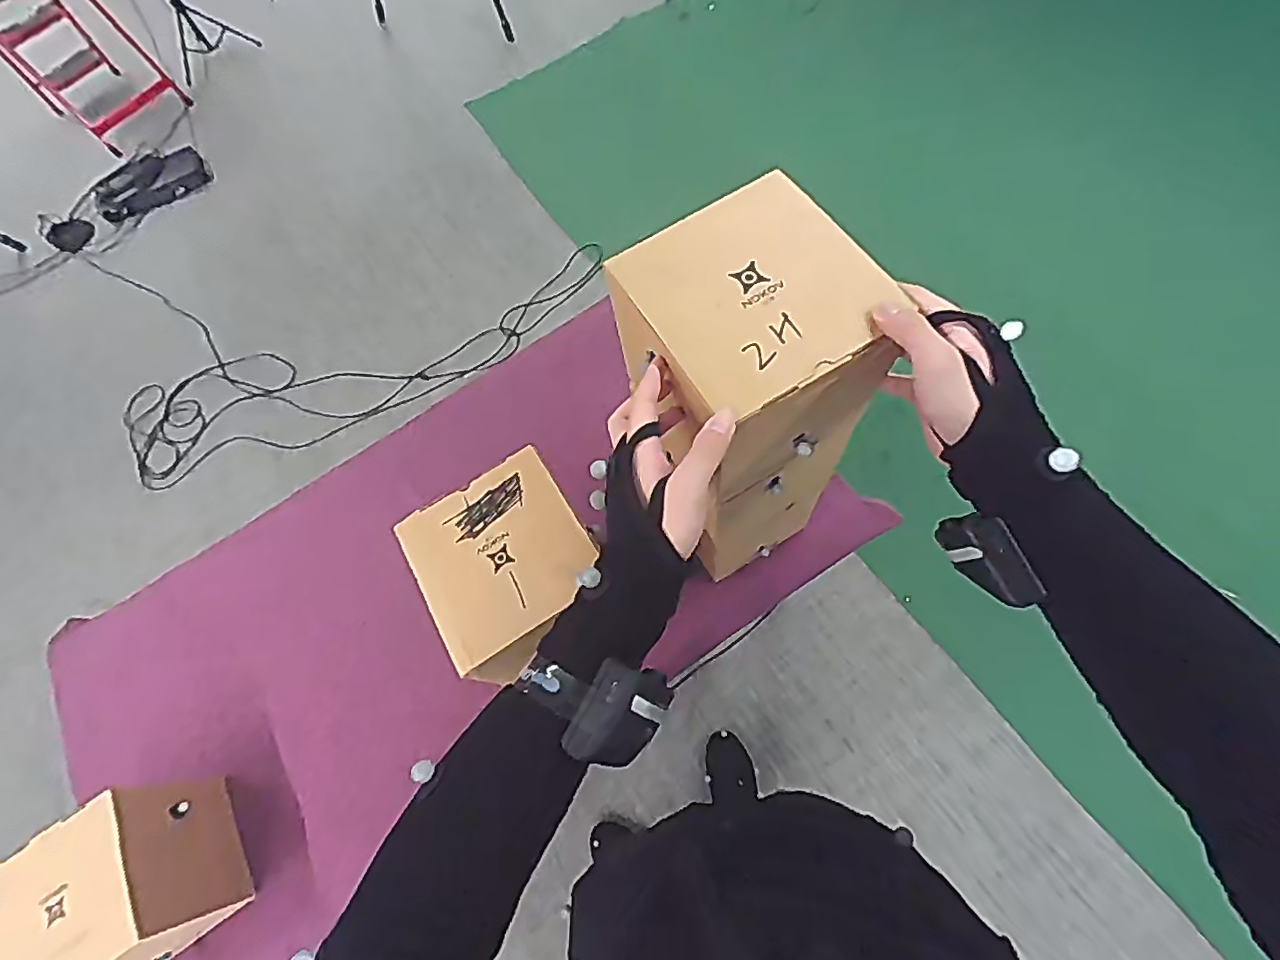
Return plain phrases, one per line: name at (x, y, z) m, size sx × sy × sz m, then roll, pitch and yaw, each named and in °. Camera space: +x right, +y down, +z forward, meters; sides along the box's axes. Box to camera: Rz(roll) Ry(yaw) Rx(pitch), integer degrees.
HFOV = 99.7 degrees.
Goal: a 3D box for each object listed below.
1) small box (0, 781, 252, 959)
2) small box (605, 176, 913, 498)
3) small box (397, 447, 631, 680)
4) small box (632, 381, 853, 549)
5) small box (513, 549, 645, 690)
small box at (-0.634, 0.501, 0.670) m, size 0.168 × 0.176 × 0.179 m, roll -34°, pitch 67°, yaw -7°
small box at (0.089, -0.112, 0.474) m, size 0.168 × 0.176 × 0.179 m, roll -30°, pitch 69°, yaw -5°
small box at (-0.128, 0.102, 0.600) m, size 0.168 × 0.176 × 0.179 m, roll -32°, pitch 66°, yaw -6°
small box at (0.110, -0.047, 0.629) m, size 0.168 × 0.176 × 0.179 m, roll -31°, pitch 66°, yaw -5°
small box at (-0.108, 0.169, 0.749) m, size 0.168 × 0.176 × 0.179 m, roll -33°, pitch 65°, yaw -7°
